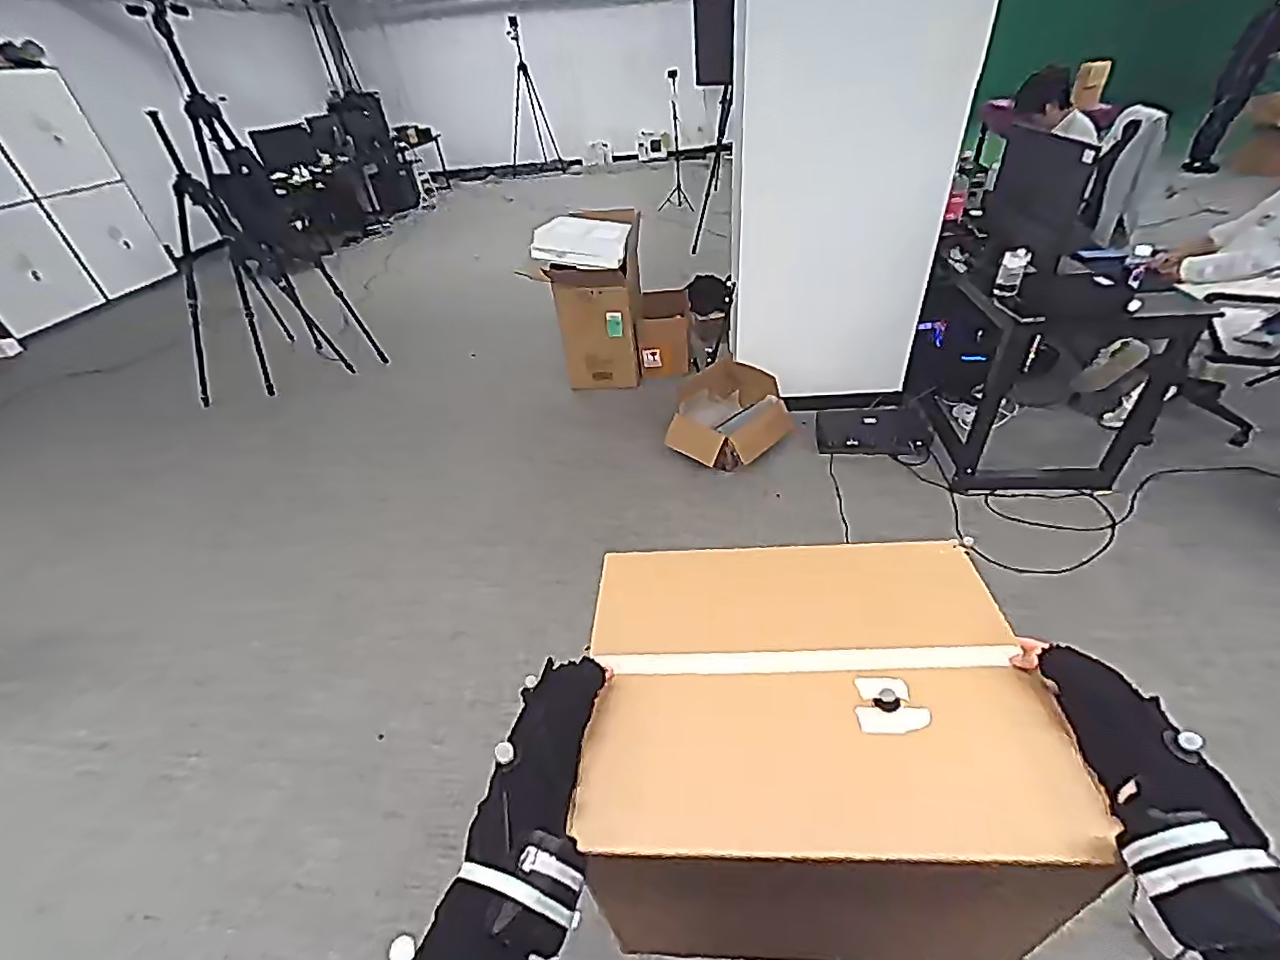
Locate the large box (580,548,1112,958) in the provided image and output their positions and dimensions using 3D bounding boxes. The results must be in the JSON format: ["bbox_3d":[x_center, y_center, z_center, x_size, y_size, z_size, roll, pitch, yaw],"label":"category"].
[{"bbox_3d":[0.169,0.301,0.614,0.408,0.320,0.320,-3,37,6],"label":"large box"}]
